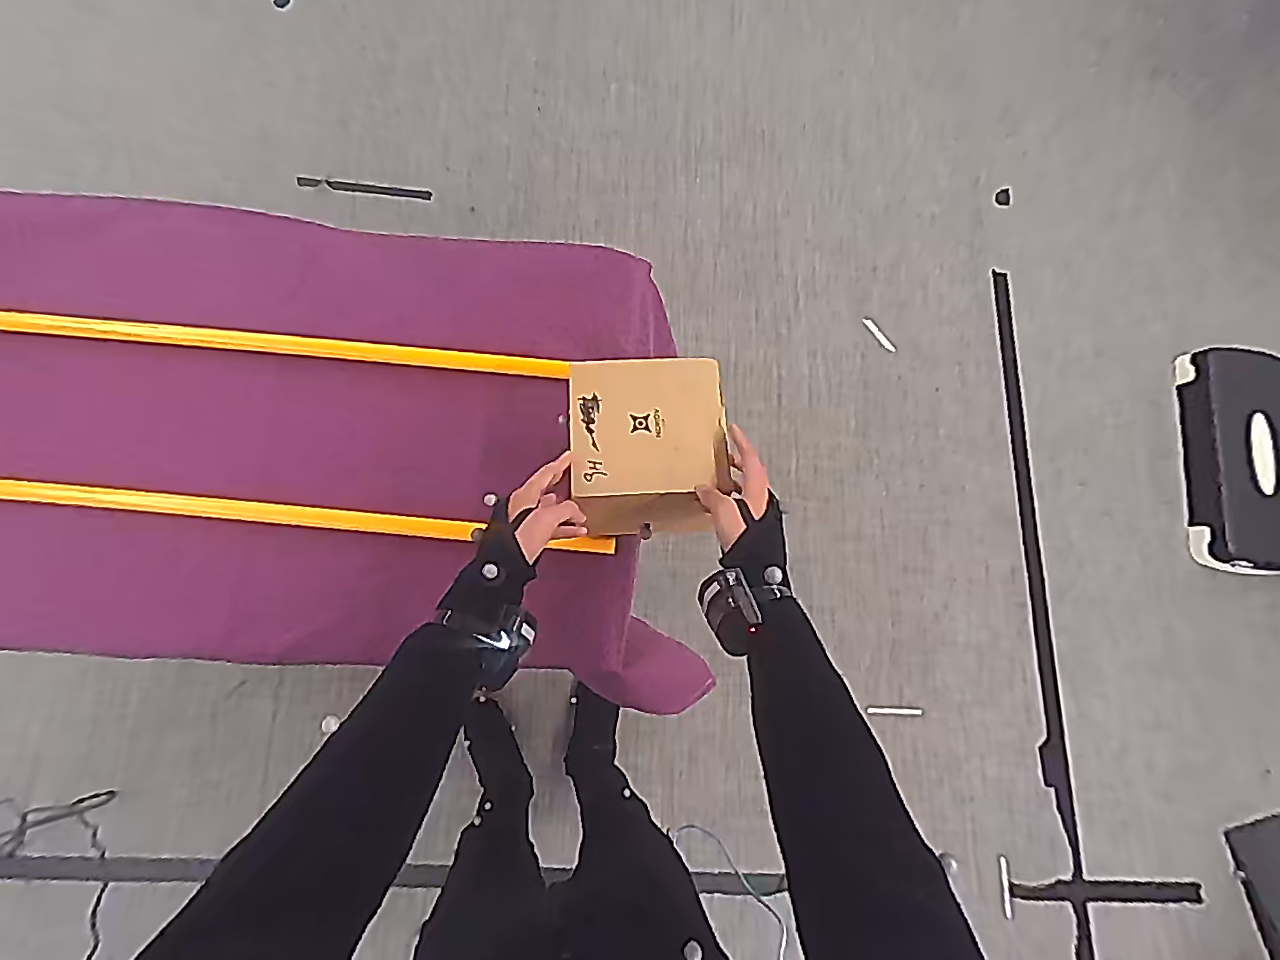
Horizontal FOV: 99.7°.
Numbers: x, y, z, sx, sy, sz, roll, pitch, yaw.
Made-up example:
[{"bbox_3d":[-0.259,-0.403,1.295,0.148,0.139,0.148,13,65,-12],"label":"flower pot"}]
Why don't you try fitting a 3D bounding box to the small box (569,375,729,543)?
[{"bbox_3d":[0.003,-0.018,0.682,0.179,0.176,0.168,-1,70,-4],"label":"small box"}]
